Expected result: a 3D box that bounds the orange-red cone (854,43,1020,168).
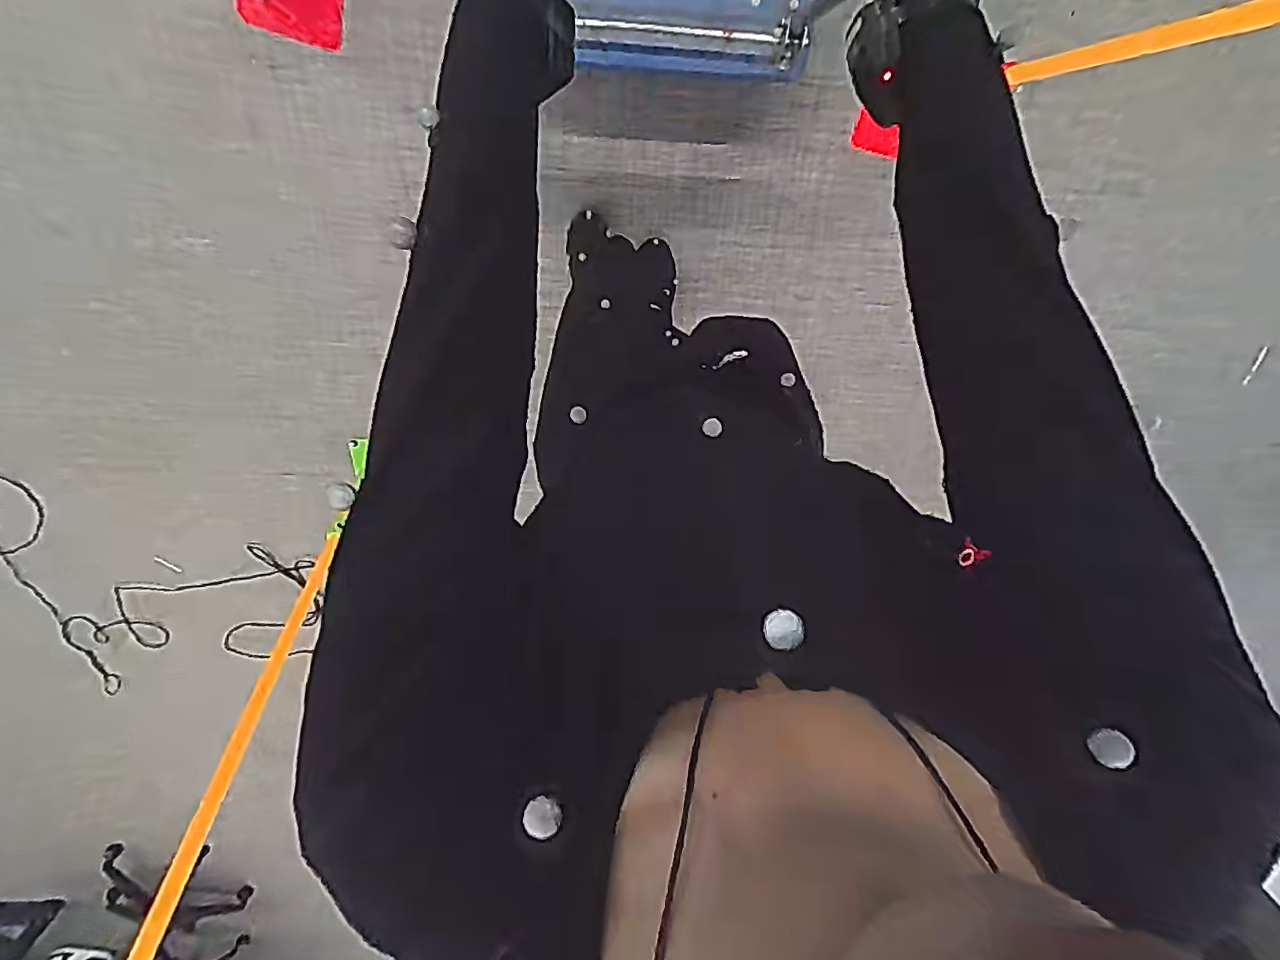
[{"bbox_3d":[0.594,-0.732,1.029,0.198,0.360,0.199,12,117,-8],"label":"orange-red cone"}]
